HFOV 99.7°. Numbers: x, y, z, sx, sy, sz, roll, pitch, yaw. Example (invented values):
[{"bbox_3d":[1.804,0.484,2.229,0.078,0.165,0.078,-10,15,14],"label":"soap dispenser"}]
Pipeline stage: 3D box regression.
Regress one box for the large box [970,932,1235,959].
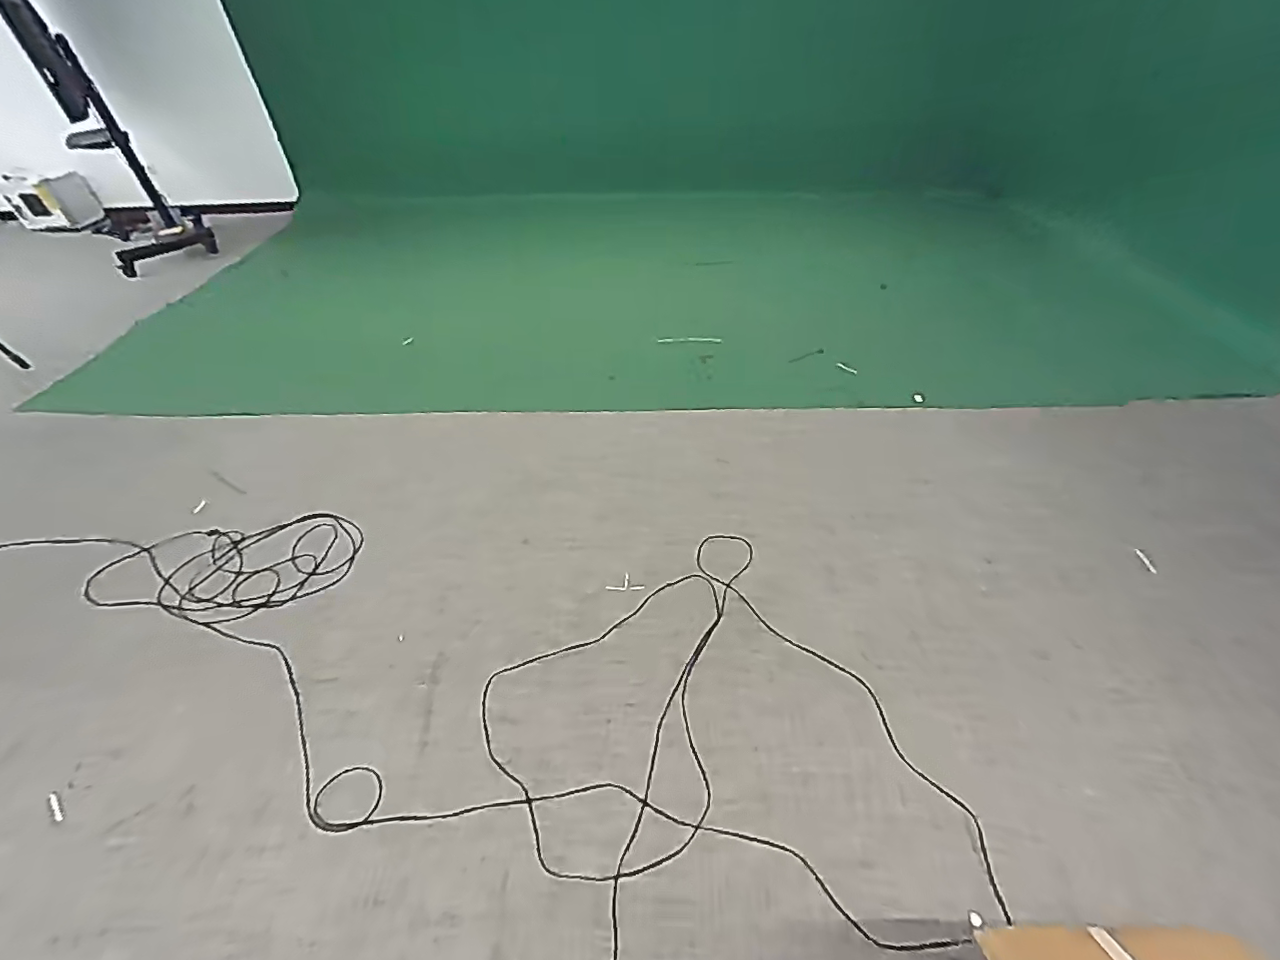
[{"bbox_3d":[0.605,0.765,0.538,0.320,0.408,0.320,-6,85,8],"label":"large box"}]
